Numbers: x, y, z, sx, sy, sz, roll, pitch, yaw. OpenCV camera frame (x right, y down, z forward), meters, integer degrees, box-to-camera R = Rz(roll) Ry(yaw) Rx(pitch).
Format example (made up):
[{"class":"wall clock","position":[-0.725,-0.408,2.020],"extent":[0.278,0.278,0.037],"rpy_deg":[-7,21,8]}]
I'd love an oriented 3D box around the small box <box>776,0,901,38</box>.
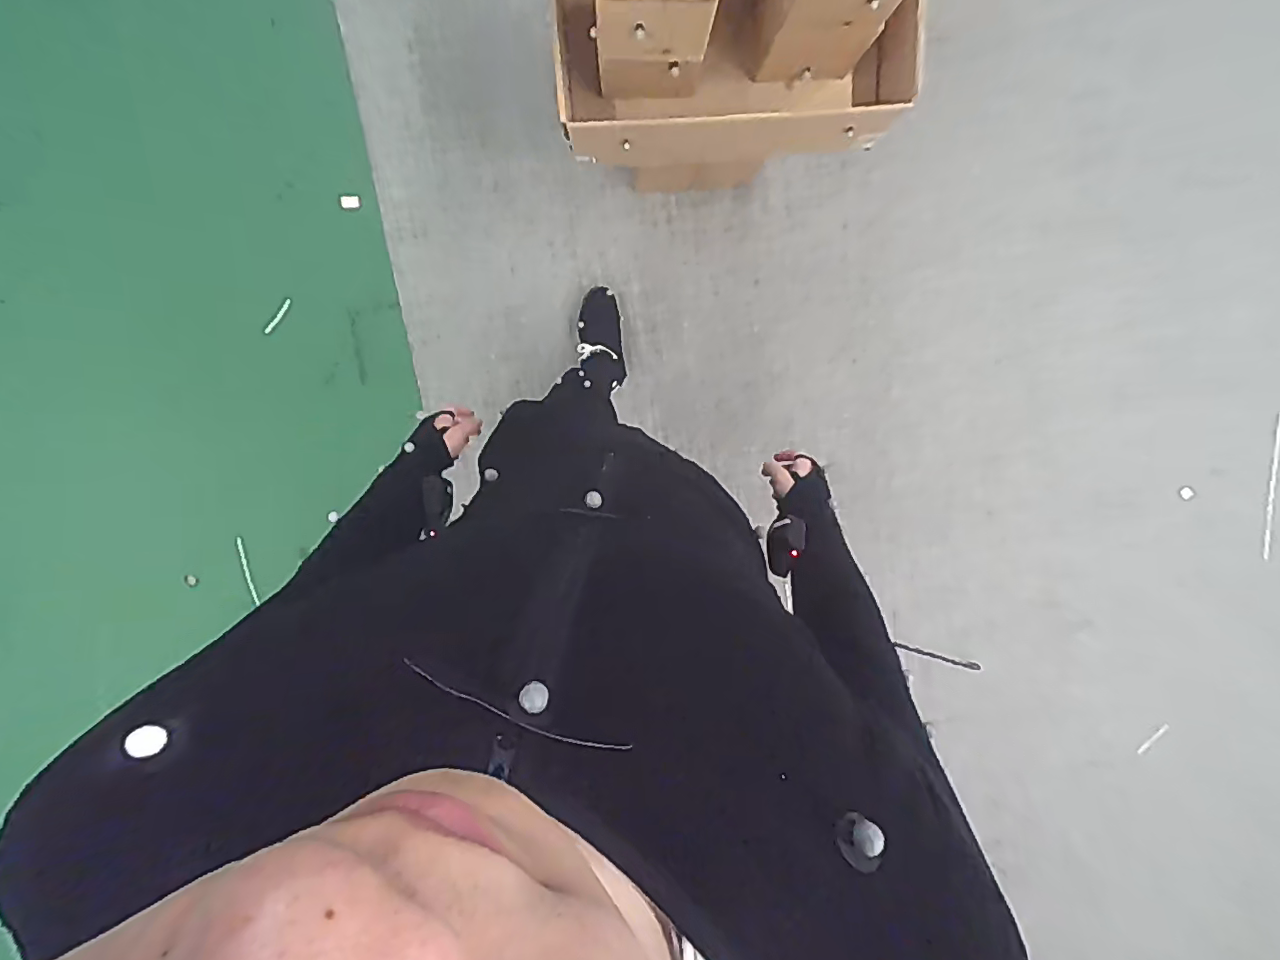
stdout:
[{"class":"small box","position":[0.298,-0.770,0.772],"extent":[0.168,0.176,0.179],"rpy_deg":[-3,103,-2]}]

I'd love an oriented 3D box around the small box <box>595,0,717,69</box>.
[{"class":"small box","position":[0.022,-0.727,0.776],"extent":[0.168,0.176,0.179],"rpy_deg":[0,103,-1]}]
